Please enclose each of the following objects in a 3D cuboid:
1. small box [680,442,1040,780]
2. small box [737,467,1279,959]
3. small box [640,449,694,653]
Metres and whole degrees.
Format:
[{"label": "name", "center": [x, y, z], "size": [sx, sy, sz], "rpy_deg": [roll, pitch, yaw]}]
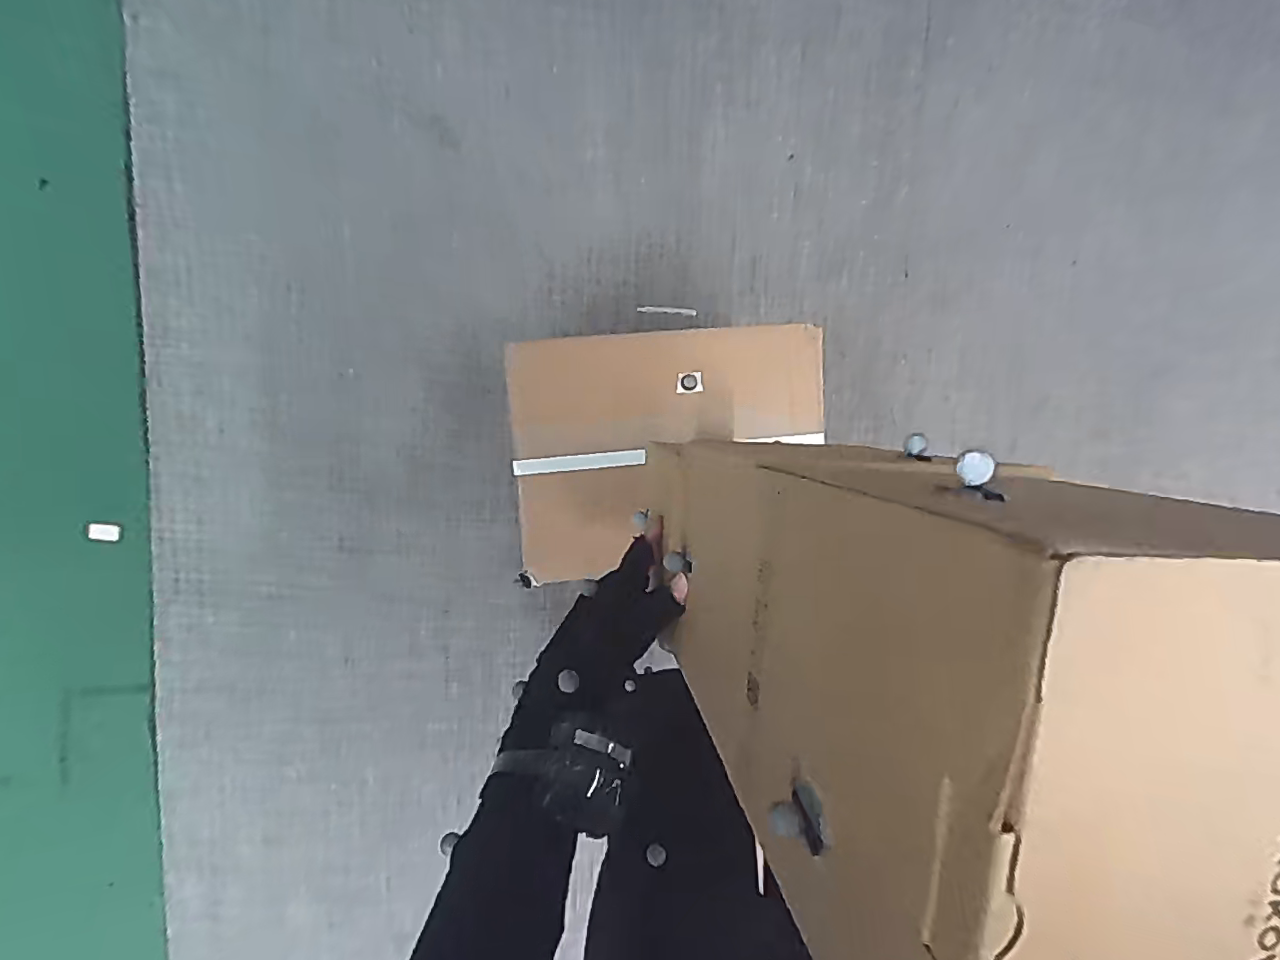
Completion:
[{"label": "small box", "center": [0.124, 0.069, 0.370], "size": [0.168, 0.176, 0.179], "rpy_deg": [1, 97, -8]}, {"label": "small box", "center": [0.148, 0.087, 0.211], "size": [0.179, 0.176, 0.168], "rpy_deg": [2, 98, -10]}, {"label": "small box", "center": [0.101, 0.058, 0.532], "size": [0.179, 0.176, 0.168], "rpy_deg": [3, 96, -7]}]
